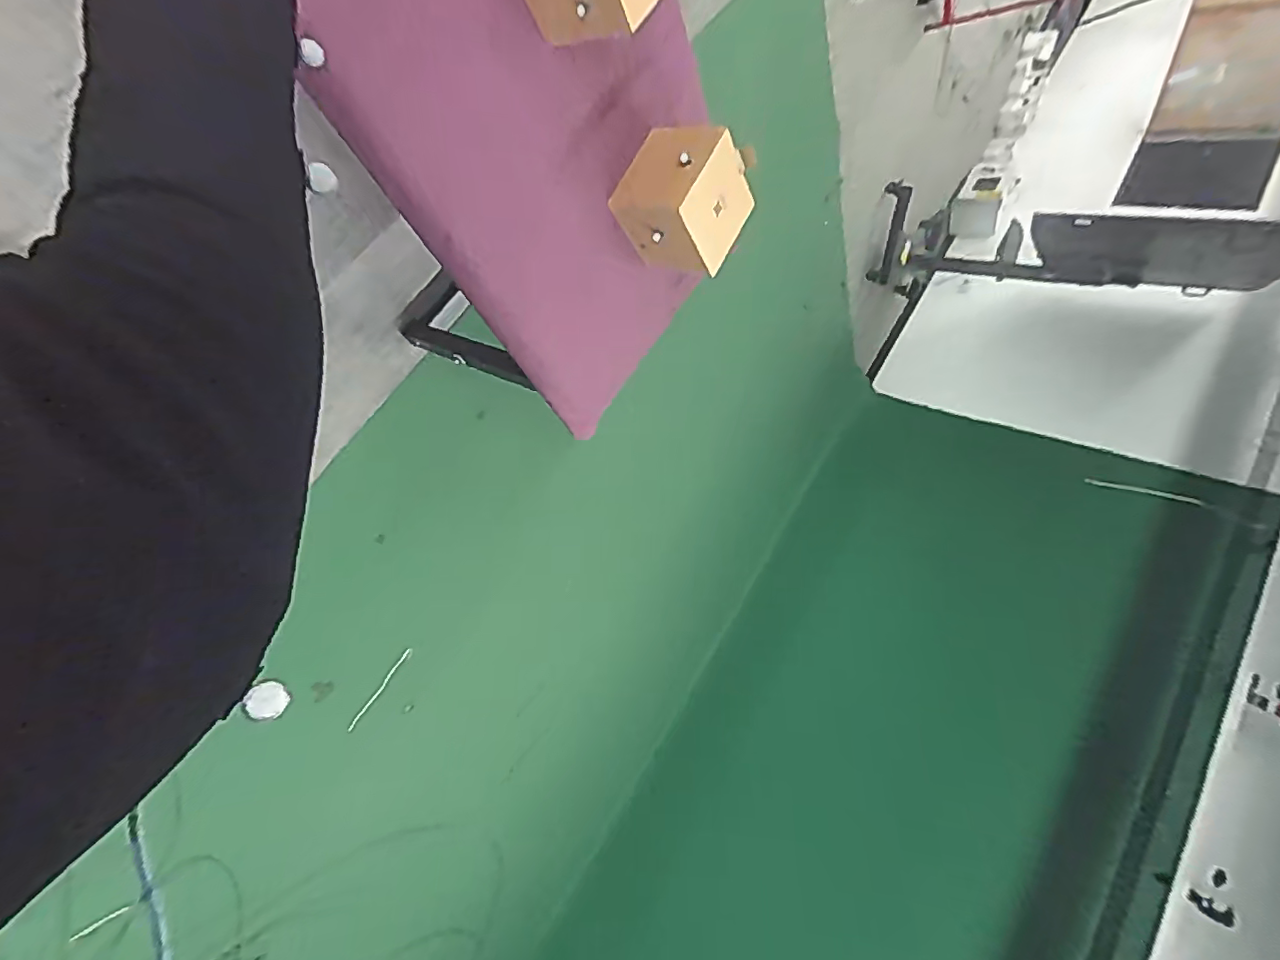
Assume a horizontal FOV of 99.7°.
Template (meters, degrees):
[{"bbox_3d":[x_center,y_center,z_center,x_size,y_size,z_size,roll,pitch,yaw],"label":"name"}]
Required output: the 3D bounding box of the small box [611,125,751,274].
[{"bbox_3d":[0.071,-0.510,0.992,0.179,0.176,0.168,-61,145,-7],"label":"small box"}]
